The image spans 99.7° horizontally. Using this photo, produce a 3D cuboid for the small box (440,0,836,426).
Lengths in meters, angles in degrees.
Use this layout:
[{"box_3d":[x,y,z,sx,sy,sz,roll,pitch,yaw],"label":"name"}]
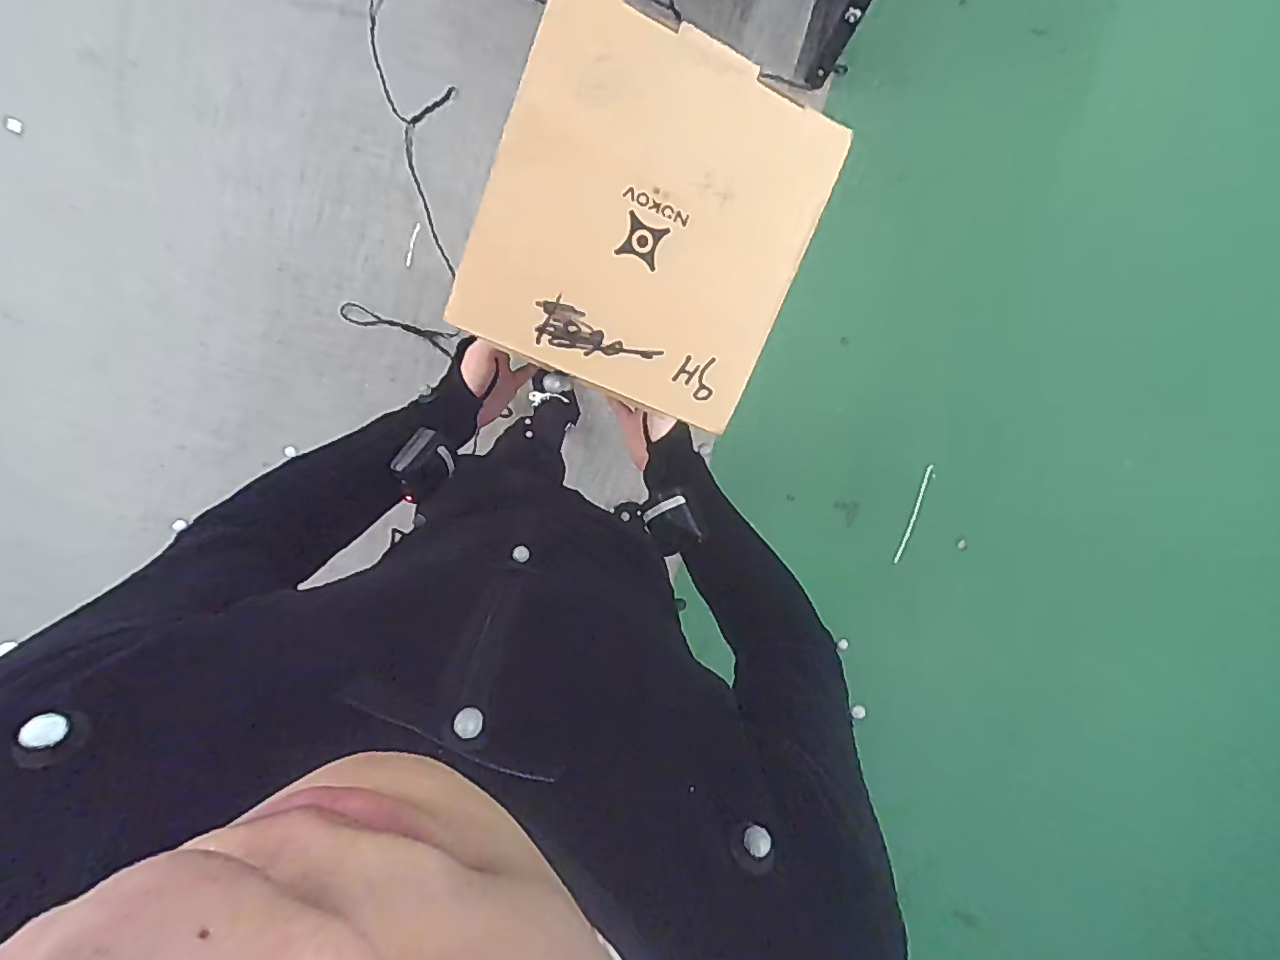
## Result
[{"box_3d":[-0.010,-0.155,0.363,0.168,0.176,0.179,21,99,-11],"label":"small box"}]
